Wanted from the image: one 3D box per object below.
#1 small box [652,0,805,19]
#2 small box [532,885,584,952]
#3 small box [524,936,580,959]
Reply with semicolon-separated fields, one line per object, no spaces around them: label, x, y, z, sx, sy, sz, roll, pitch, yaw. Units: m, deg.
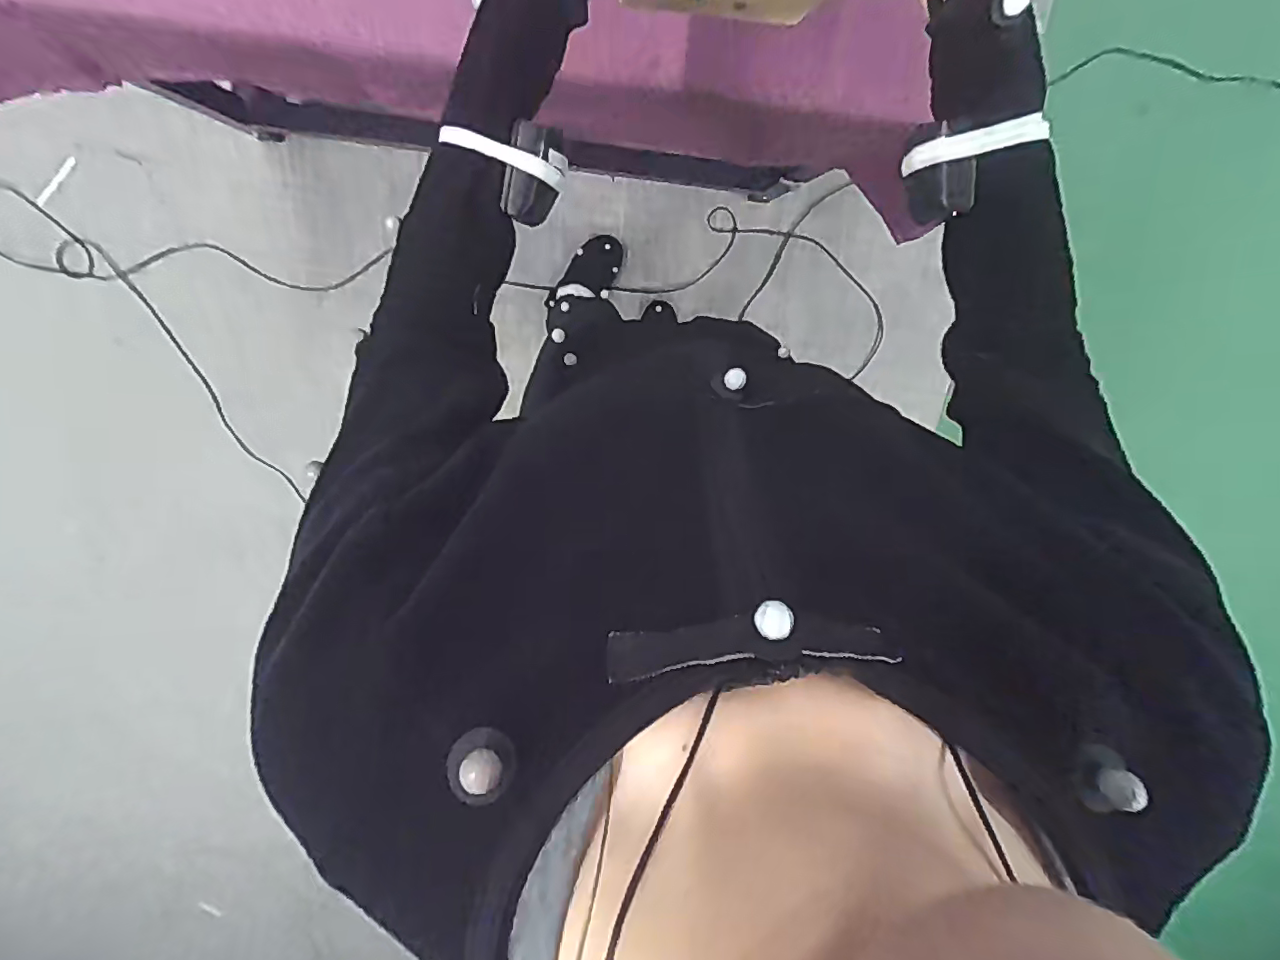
small box;0.074;-0.475;0.392;0.168;0.176;0.179;2;113;-5
small box;-0.300;1.633;1.977;0.168;0.176;0.179;12;107;-9
small box;-0.303;1.680;1.819;0.179;0.176;0.168;12;107;-9
